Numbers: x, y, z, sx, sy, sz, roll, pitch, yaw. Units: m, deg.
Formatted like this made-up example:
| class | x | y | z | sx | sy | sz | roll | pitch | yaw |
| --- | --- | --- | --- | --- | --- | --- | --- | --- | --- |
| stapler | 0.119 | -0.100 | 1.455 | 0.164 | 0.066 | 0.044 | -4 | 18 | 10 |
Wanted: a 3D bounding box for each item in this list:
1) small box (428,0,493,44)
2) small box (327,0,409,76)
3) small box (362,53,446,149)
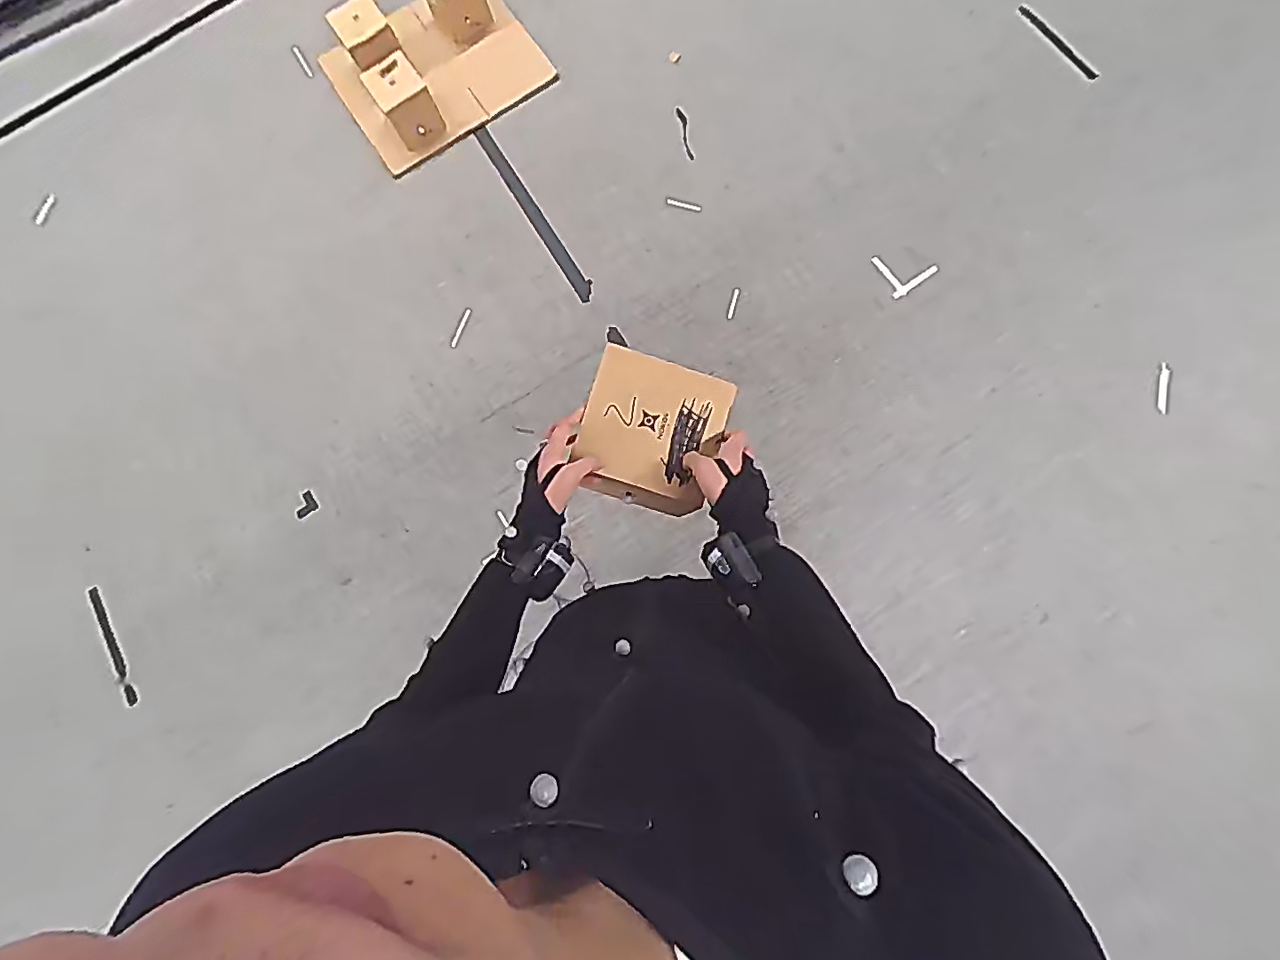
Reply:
| class | x | y | z | sx | sy | sz | roll | pitch | yaw |
| --- | --- | --- | --- | --- | --- | --- | --- | --- | --- |
| small box | -0.657 | -1.718 | 1.921 | 0.168 | 0.176 | 0.179 | -37 | 80 | -3 |
| small box | -0.944 | -1.531 | 1.900 | 0.168 | 0.176 | 0.179 | -34 | 80 | -2 |
| small box | -0.802 | -1.289 | 1.850 | 0.168 | 0.176 | 0.179 | -35 | 81 | -2 |
